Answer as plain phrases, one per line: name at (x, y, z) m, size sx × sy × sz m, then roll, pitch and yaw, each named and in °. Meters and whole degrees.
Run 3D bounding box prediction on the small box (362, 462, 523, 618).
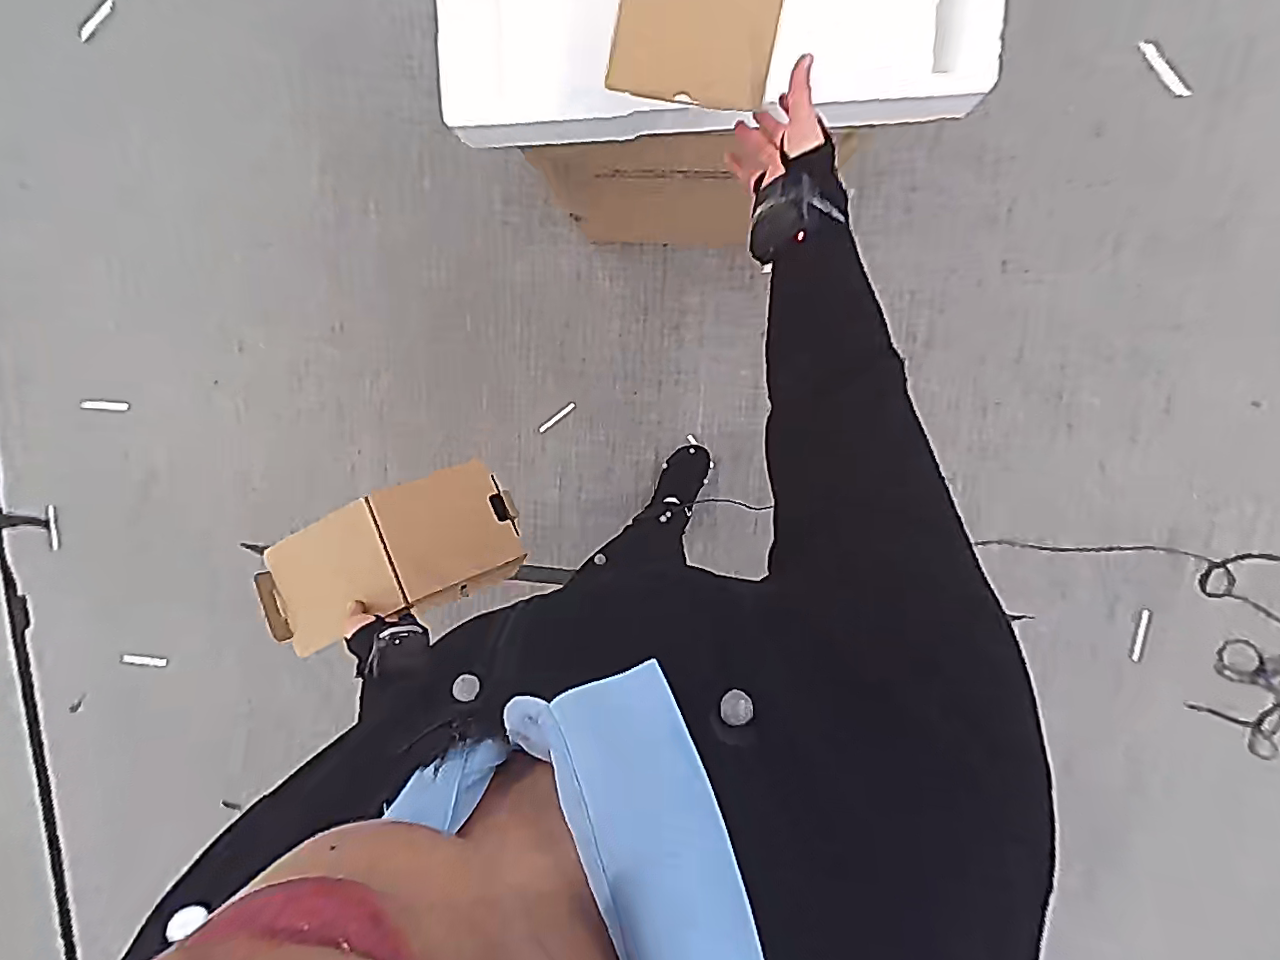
small box at (-0.300, 0.098, 0.830) m, size 0.179 × 0.176 × 0.168 m, roll -21°, pitch 79°, yaw -27°
